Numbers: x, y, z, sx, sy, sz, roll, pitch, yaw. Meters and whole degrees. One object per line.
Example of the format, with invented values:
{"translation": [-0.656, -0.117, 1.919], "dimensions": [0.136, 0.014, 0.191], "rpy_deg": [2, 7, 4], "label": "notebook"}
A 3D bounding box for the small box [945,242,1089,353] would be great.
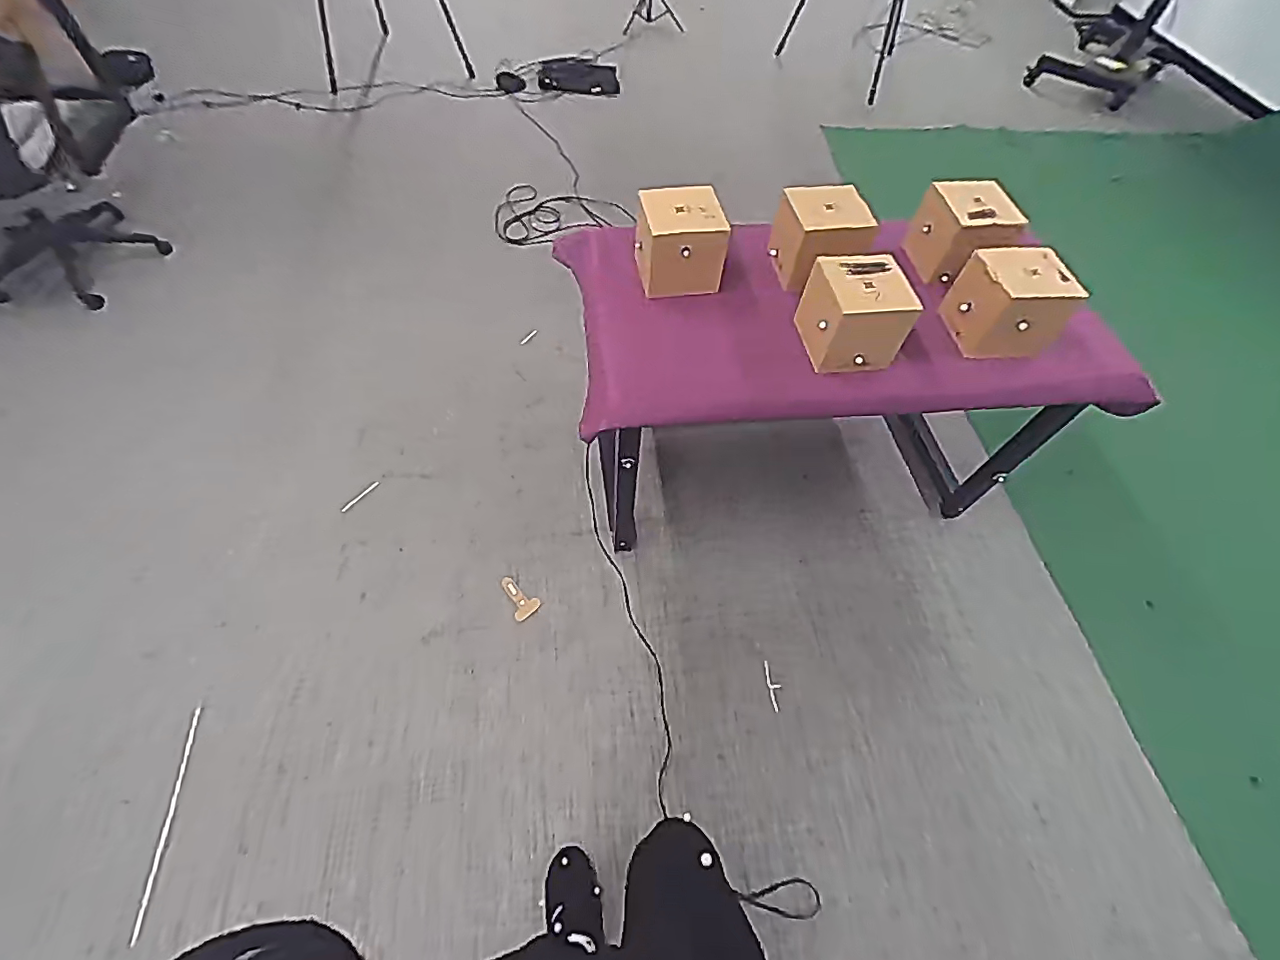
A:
{"translation": [0.803, -0.393, 1.181], "dimensions": [0.179, 0.176, 0.168], "rpy_deg": [-3, 58, -4], "label": "small box"}

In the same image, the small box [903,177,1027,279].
{"translation": [0.776, -0.606, 1.312], "dimensions": [0.168, 0.176, 0.179], "rpy_deg": [-4, 57, -6], "label": "small box"}

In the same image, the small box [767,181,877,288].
{"translation": [0.419, -0.575, 1.276], "dimensions": [0.179, 0.176, 0.168], "rpy_deg": [-6, 59, -6], "label": "small box"}

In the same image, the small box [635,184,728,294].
{"translation": [0.085, -0.547, 1.237], "dimensions": [0.179, 0.176, 0.168], "rpy_deg": [-7, 60, -8], "label": "small box"}
